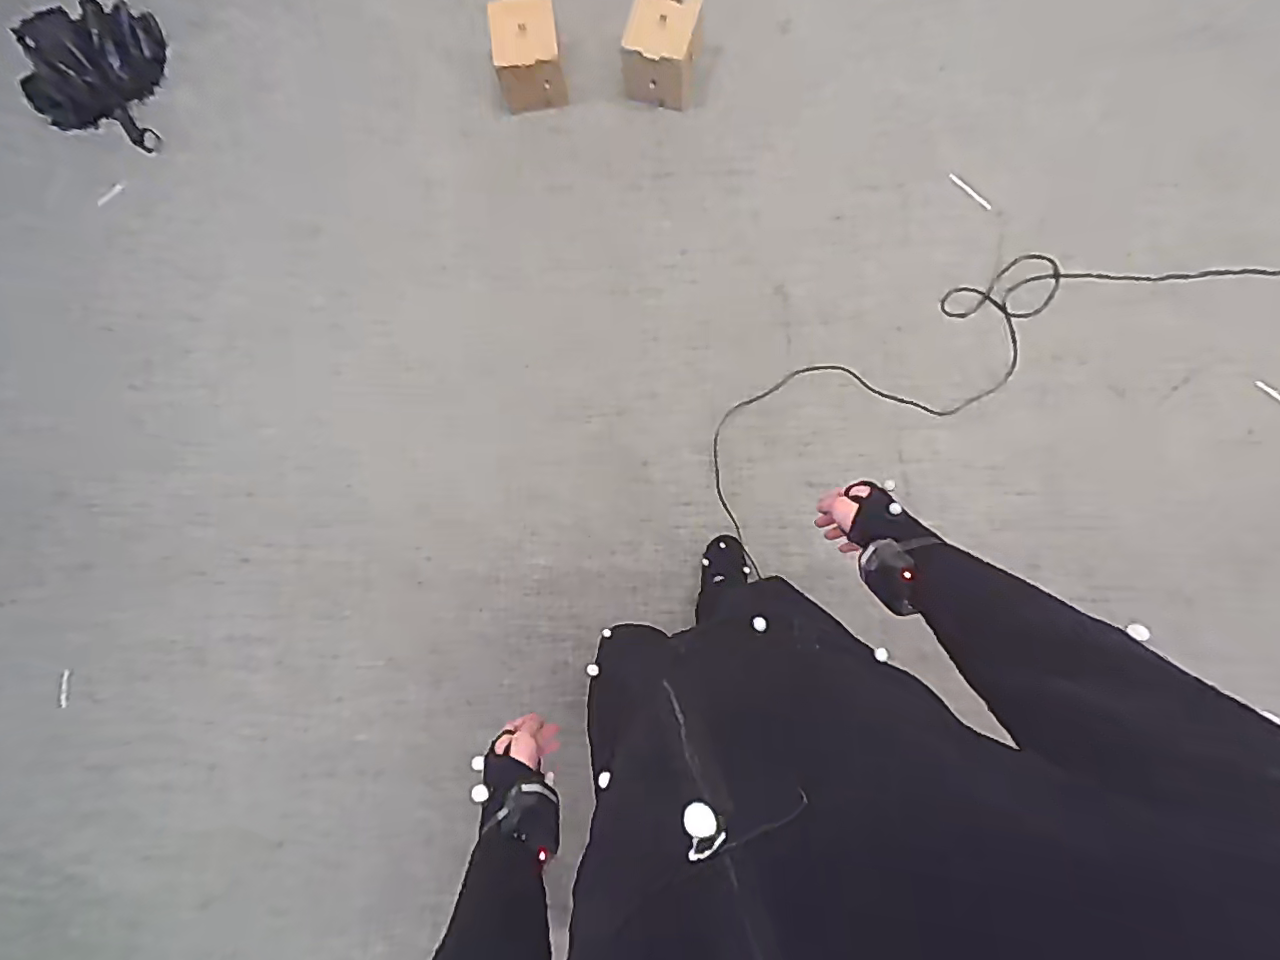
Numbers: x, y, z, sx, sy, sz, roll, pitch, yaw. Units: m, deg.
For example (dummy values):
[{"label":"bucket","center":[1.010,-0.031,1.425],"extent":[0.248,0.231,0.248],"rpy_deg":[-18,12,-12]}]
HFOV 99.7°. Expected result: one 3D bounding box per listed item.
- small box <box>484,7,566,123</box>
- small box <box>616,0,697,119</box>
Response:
[{"label":"small box","center":[-0.299,-1.091,1.441],"extent":[0.168,0.176,0.179],"rpy_deg":[-9,84,3]},{"label":"small box","center":[0.049,-1.092,1.411],"extent":[0.168,0.176,0.179],"rpy_deg":[17,88,6]}]
